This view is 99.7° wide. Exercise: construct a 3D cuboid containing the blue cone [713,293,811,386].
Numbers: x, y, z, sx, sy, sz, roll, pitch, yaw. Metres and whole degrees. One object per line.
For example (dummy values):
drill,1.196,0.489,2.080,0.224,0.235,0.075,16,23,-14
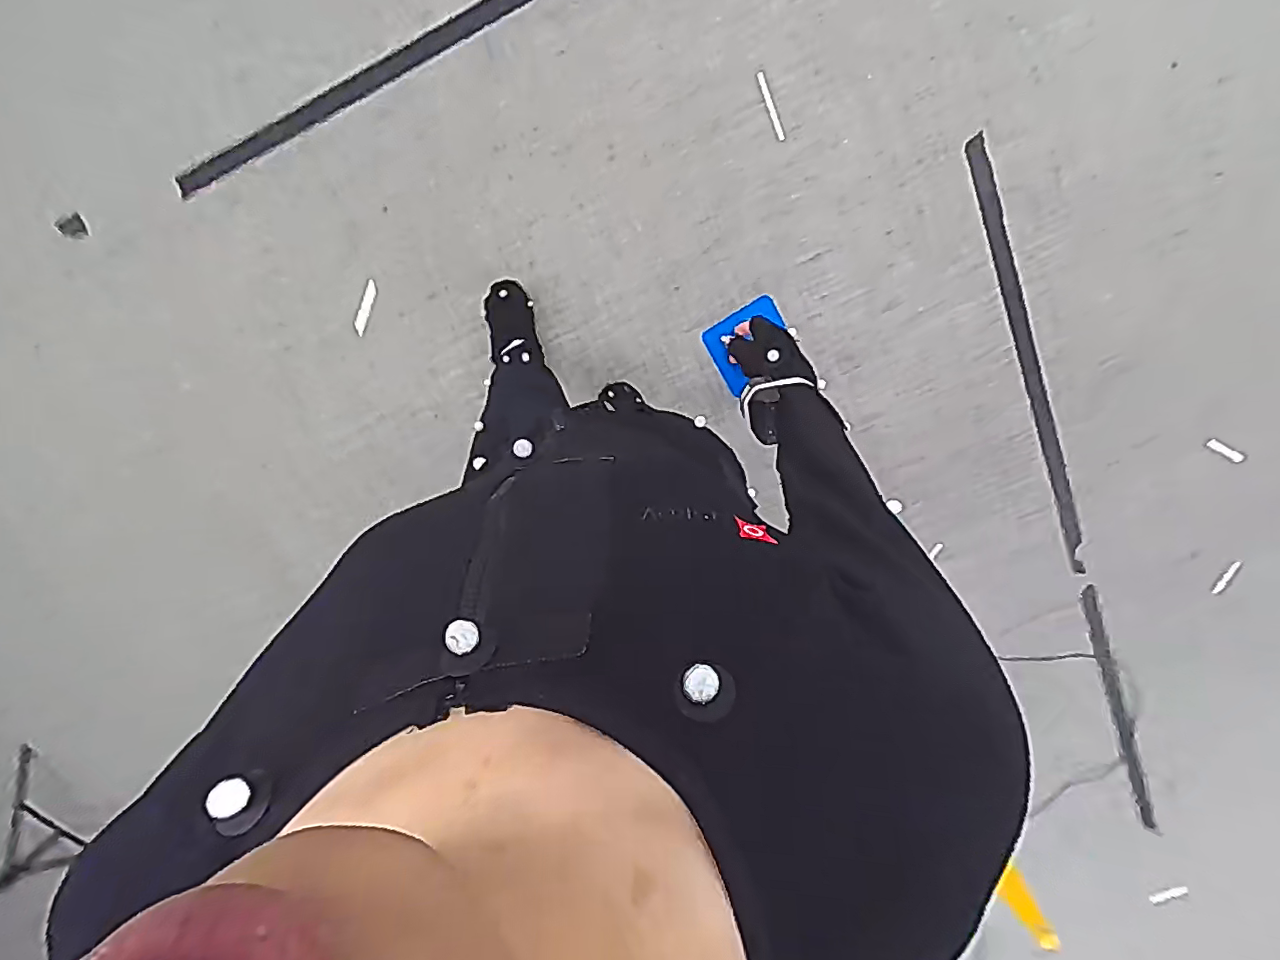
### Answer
blue cone,0.299,-0.310,1.216,0.192,0.380,0.193,-30,103,7
